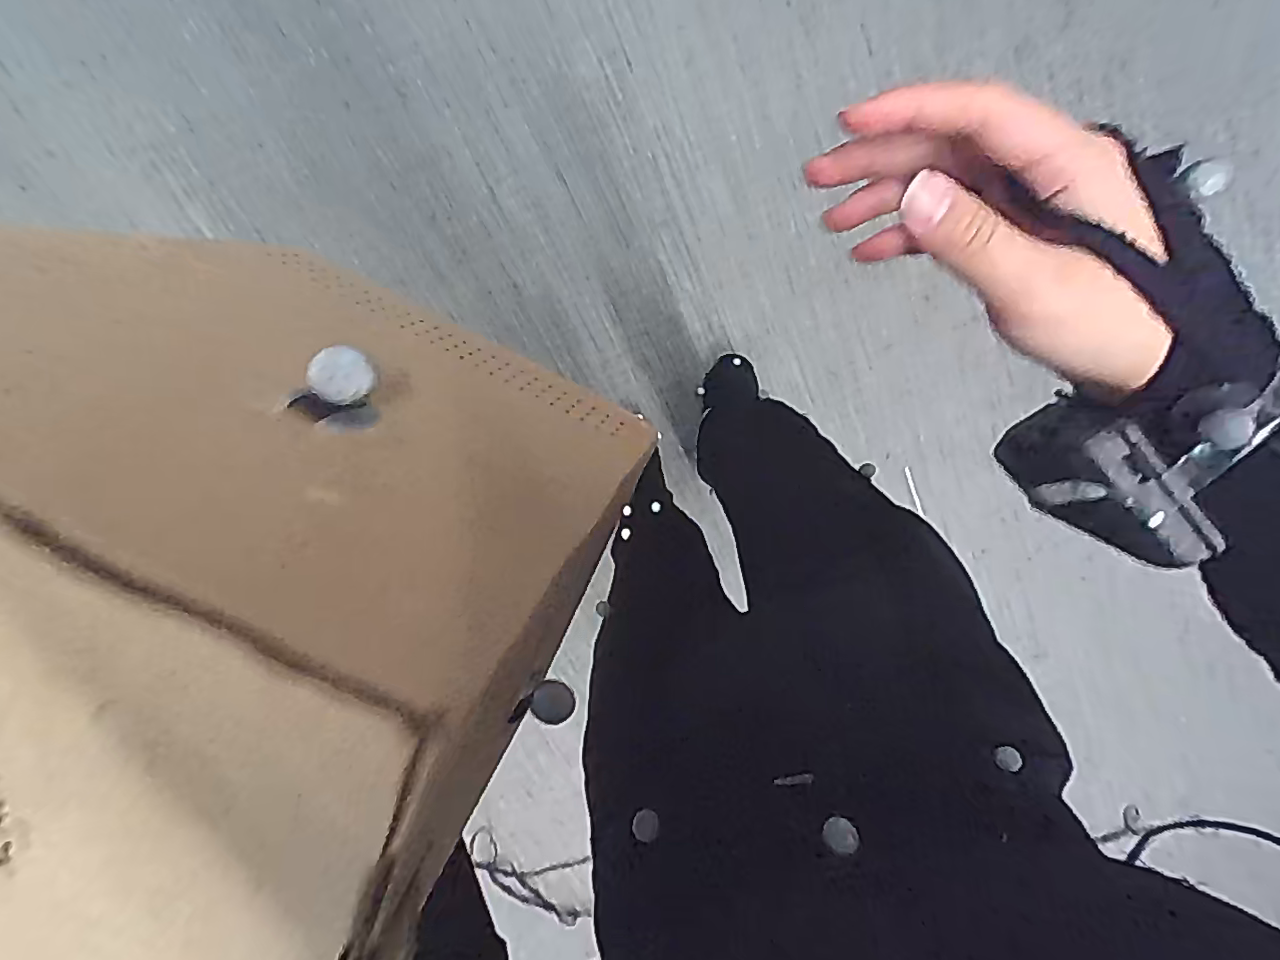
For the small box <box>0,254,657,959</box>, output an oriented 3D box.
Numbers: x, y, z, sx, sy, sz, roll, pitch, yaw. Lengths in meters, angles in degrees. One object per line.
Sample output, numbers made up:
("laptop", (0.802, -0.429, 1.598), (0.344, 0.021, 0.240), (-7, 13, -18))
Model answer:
("small box", (-0.111, 0.032, 0.188), (0.179, 0.176, 0.168), (28, 114, 2))
